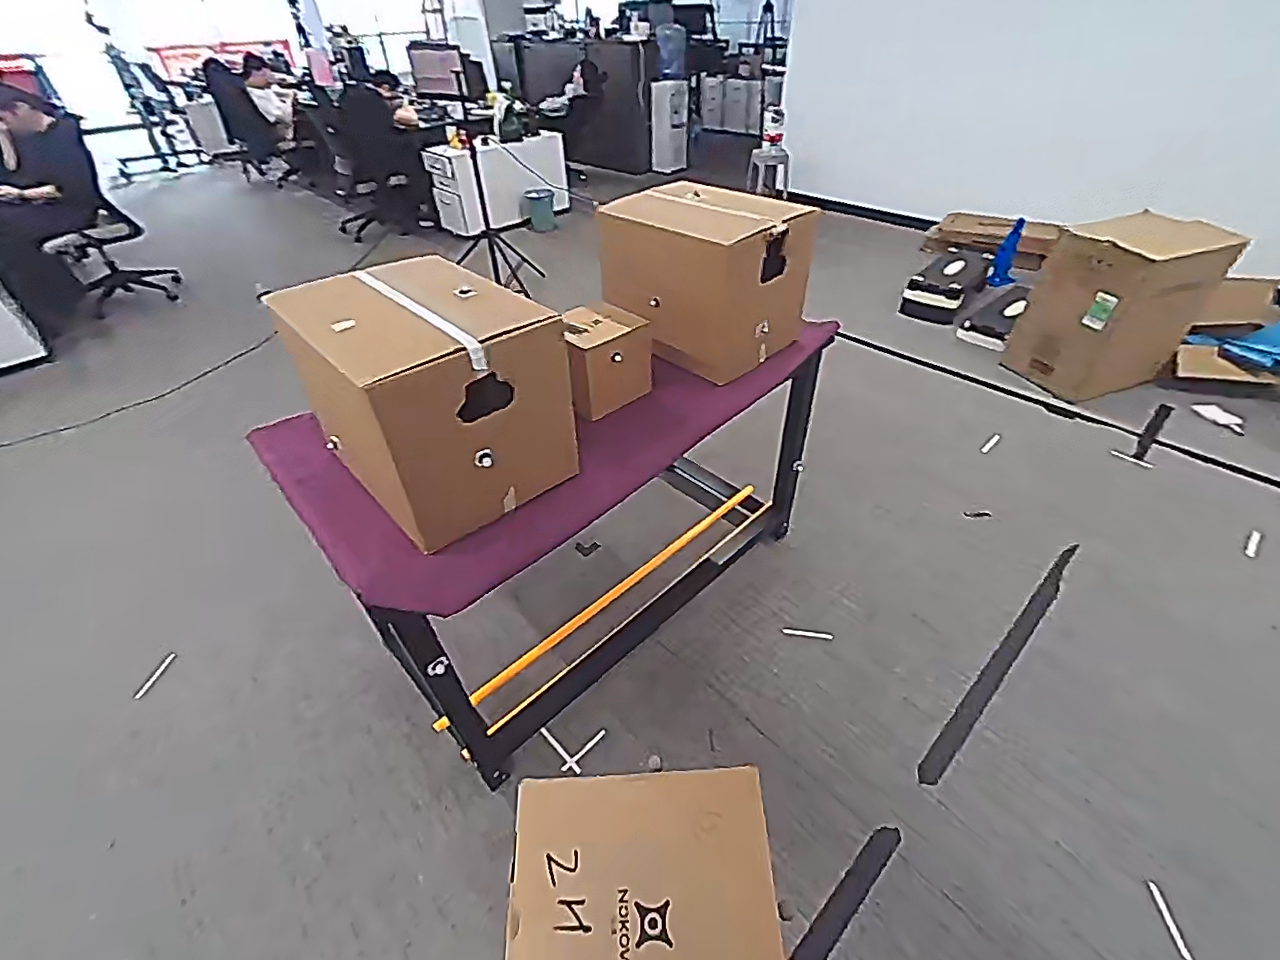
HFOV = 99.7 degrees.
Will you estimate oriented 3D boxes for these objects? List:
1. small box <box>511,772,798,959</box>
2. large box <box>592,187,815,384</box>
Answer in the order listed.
[{"bbox_3d":[0.017,0.315,0.399,0.179,0.176,0.168,-6,57,6],"label":"small box"},{"bbox_3d":[0.144,-0.477,1.293,0.320,0.320,0.408,-33,48,-31],"label":"large box"}]
